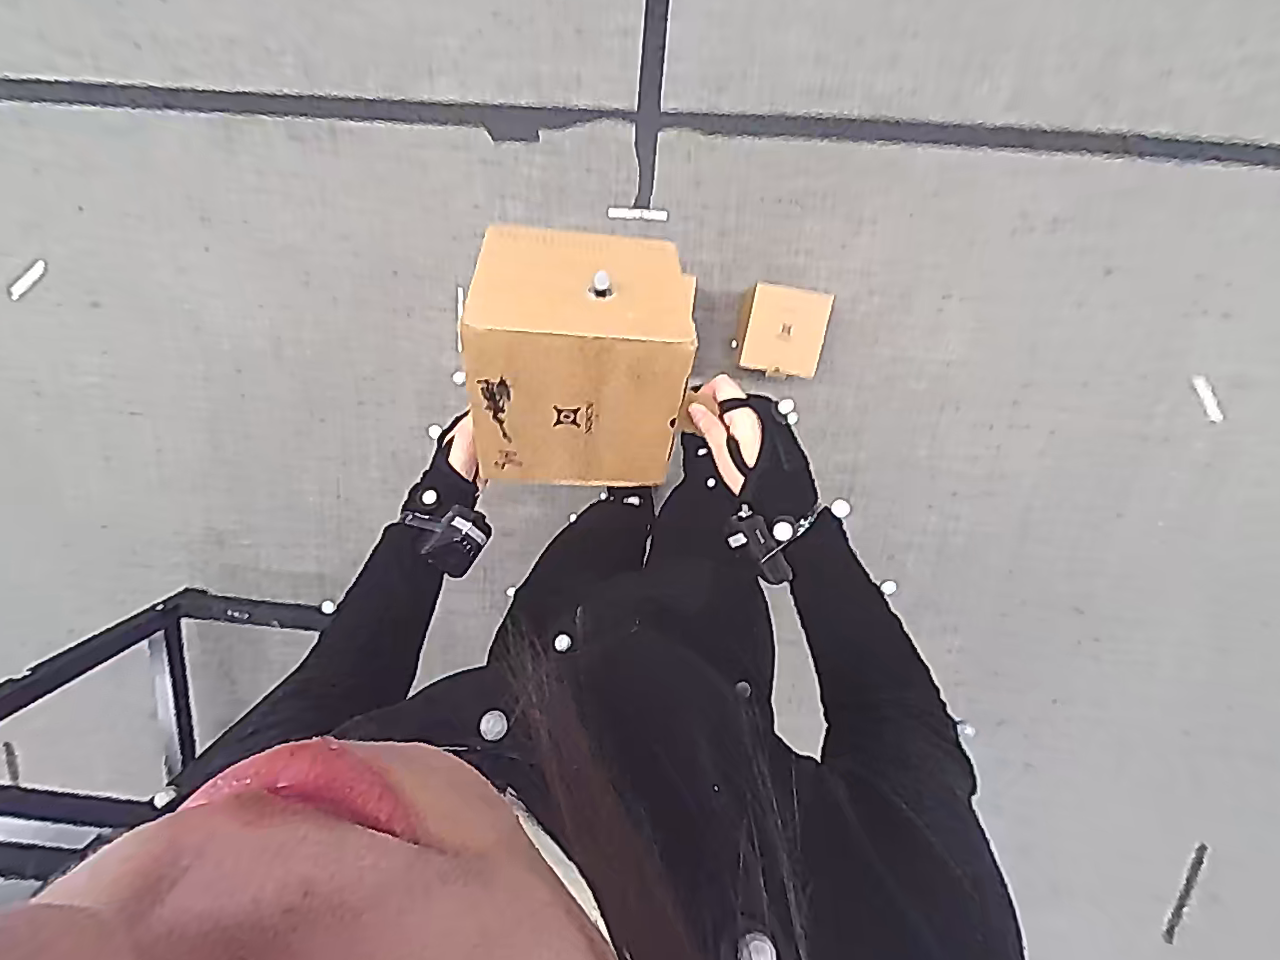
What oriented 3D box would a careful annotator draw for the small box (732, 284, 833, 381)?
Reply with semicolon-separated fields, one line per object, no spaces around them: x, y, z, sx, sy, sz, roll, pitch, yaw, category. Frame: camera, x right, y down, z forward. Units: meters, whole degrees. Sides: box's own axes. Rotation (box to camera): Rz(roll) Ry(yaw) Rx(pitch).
0.309;-0.330;1.218;0.168;0.176;0.179;10;104;-2;small box

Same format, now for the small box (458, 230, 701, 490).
-0.059;-0.107;0.491;0.179;0.176;0.168;1;137;-9;small box

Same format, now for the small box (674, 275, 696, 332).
0.029;-0.365;1.215;0.168;0.176;0.179;7;104;0;small box
